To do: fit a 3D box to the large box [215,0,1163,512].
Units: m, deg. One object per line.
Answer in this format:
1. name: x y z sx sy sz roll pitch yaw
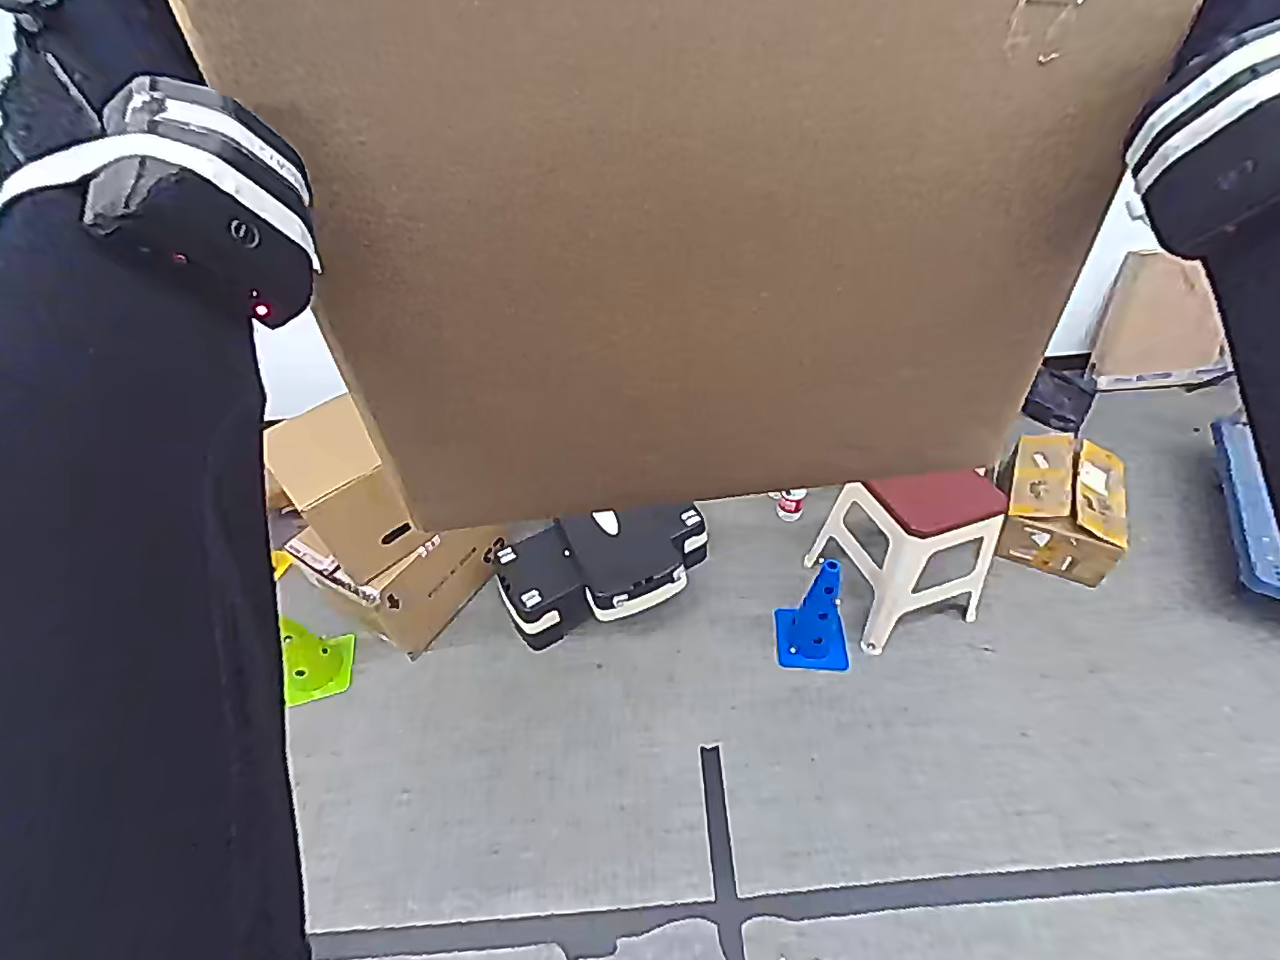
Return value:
1. large box: 0.022 -0.205 0.396 0.408 0.320 0.320 -6 39 -3
